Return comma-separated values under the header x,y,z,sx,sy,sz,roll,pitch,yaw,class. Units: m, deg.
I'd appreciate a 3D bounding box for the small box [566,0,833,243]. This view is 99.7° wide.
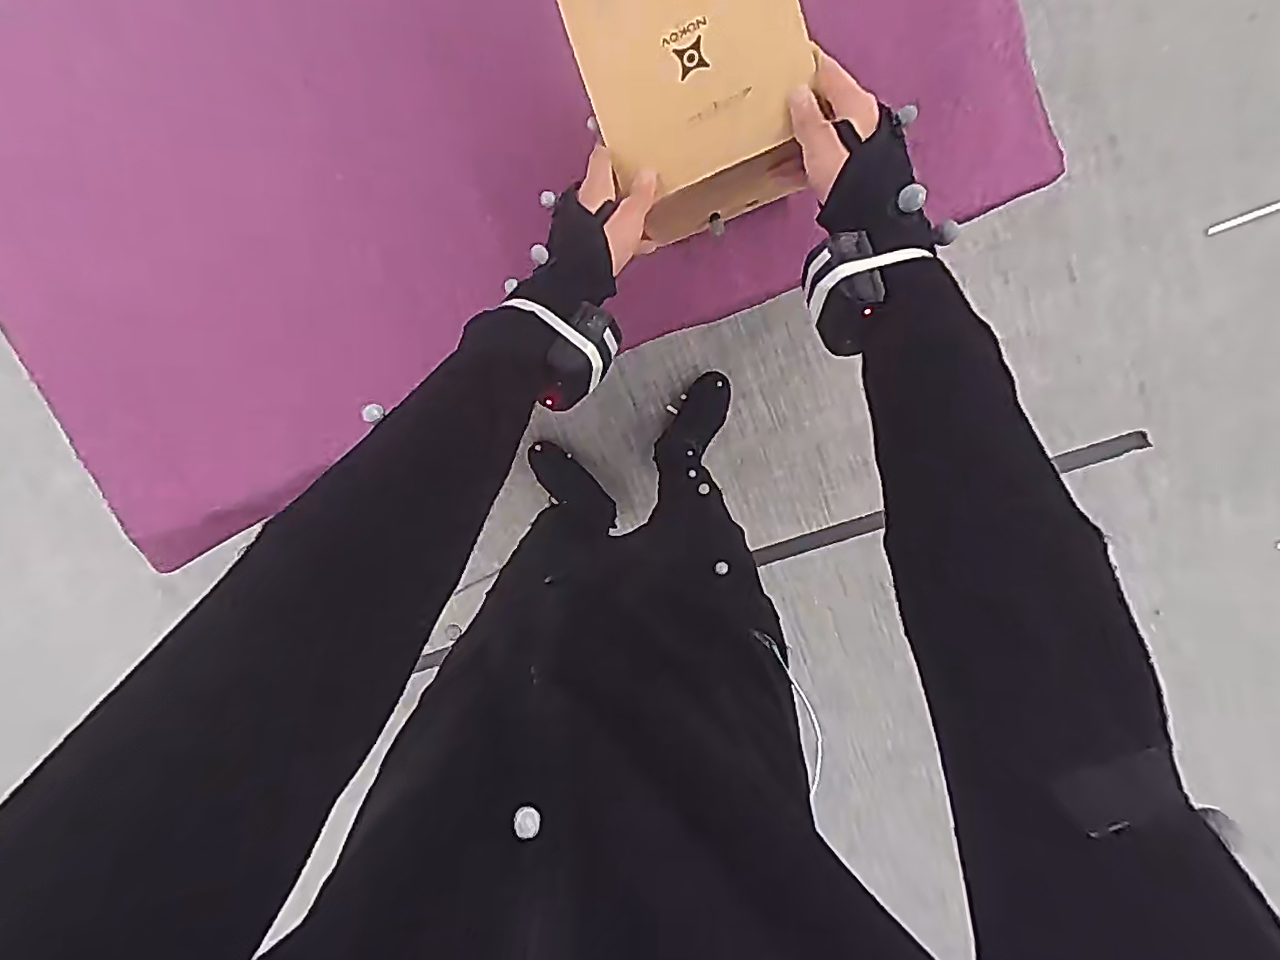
x,y,z,sx,sy,sz,roll,pitch,yaw,class
0.055,-0.337,0.477,0.168,0.176,0.179,-17,100,15,small box
